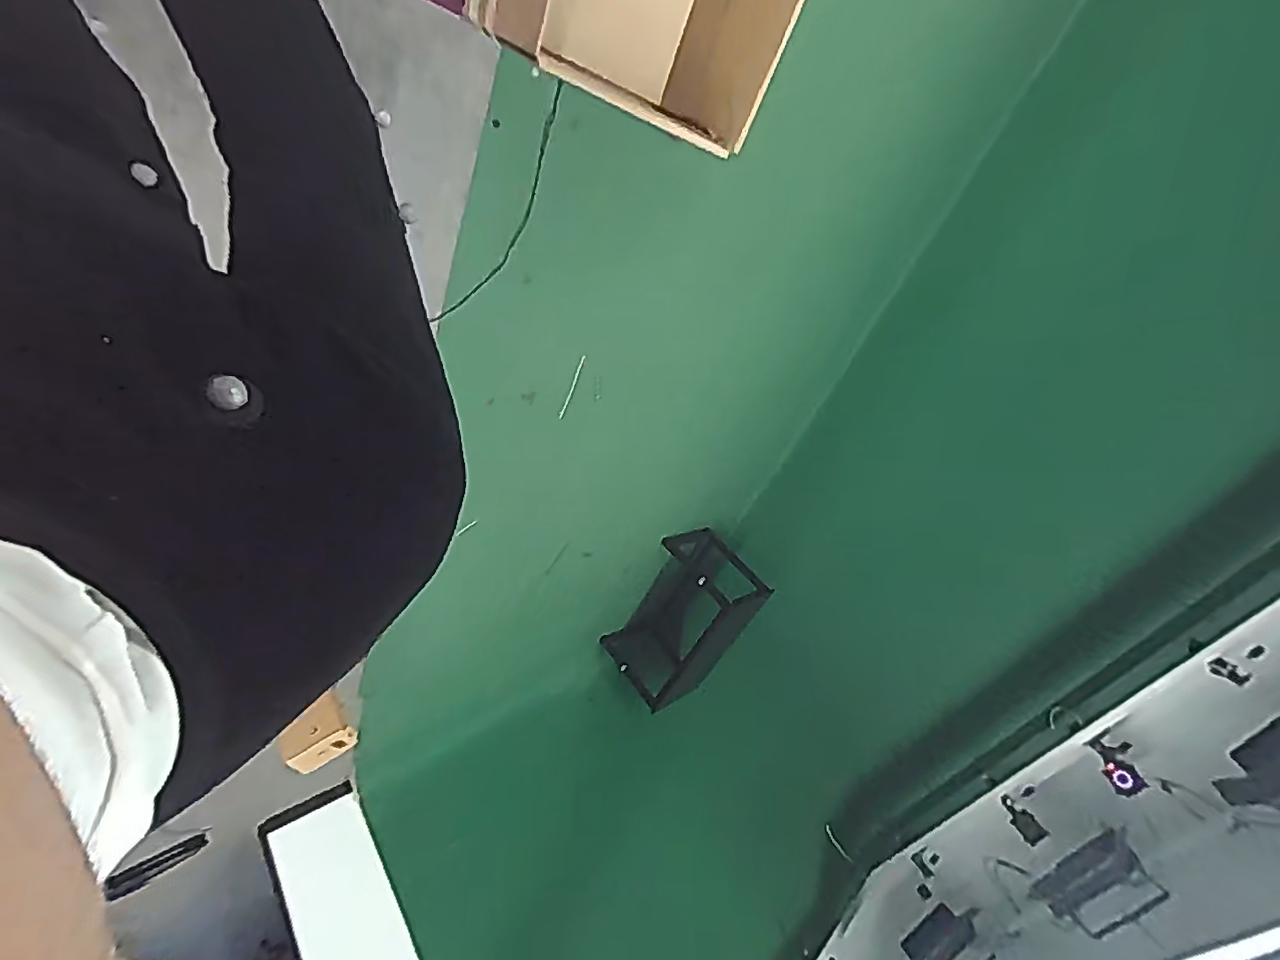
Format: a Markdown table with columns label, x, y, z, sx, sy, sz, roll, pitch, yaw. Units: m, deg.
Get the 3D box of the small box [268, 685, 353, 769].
| label | x | y | z | sx | sy | sz | roll | pitch | yaw |
| --- | --- | --- | --- | --- | --- | --- | --- | --- | --- |
| small box | -1.111 | 0.828 | 1.822 | 0.179 | 0.176 | 0.168 | -29 | 148 | -26 |
